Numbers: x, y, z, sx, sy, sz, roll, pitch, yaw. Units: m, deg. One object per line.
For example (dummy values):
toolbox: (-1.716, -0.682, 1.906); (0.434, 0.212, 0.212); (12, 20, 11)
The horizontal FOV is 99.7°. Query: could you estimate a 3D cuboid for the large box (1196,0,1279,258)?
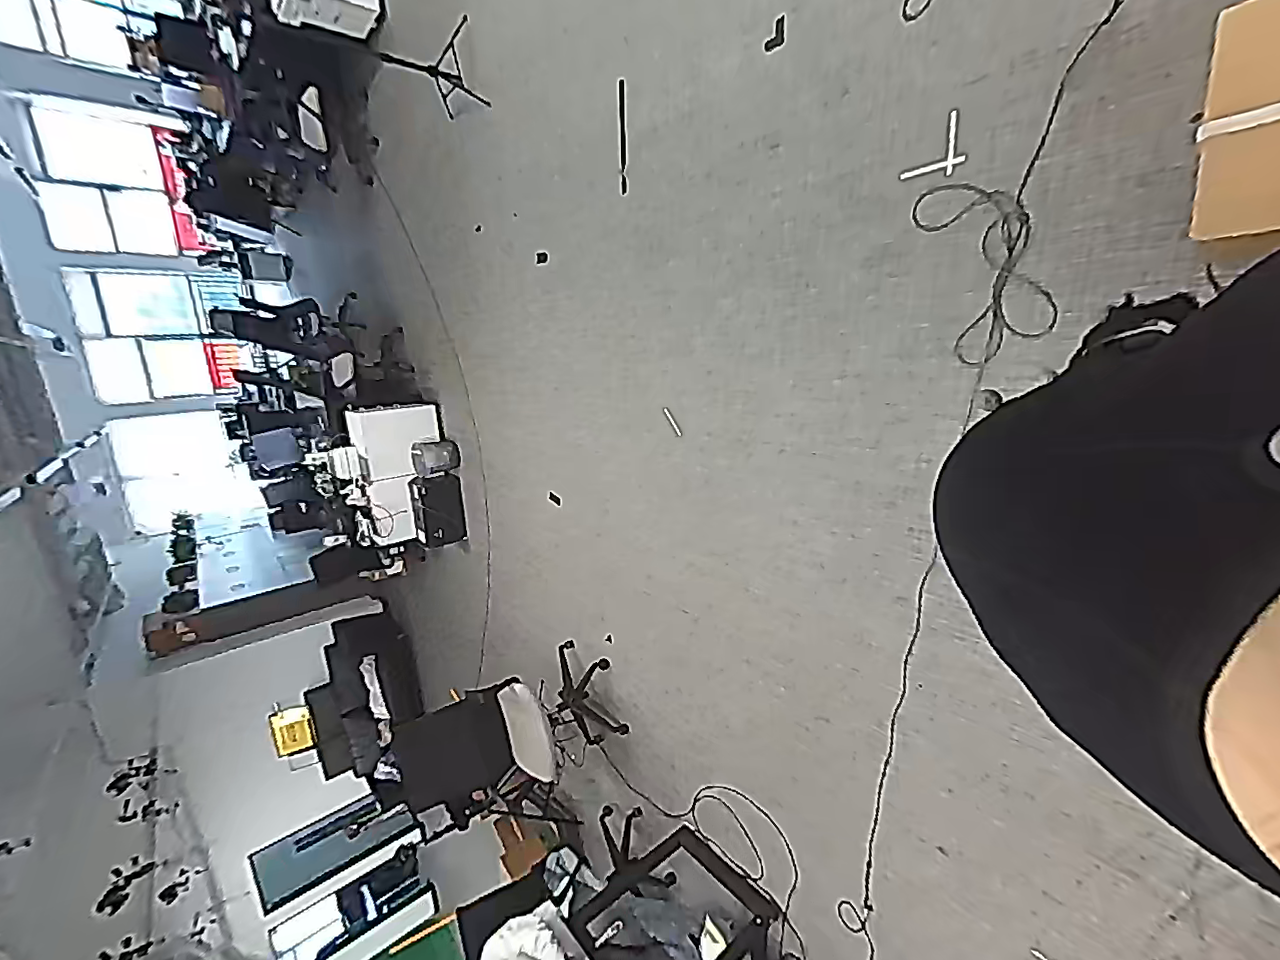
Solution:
large box: (1.077, -0.522, 0.743); (0.408, 0.320, 0.320); (10, 106, 49)
